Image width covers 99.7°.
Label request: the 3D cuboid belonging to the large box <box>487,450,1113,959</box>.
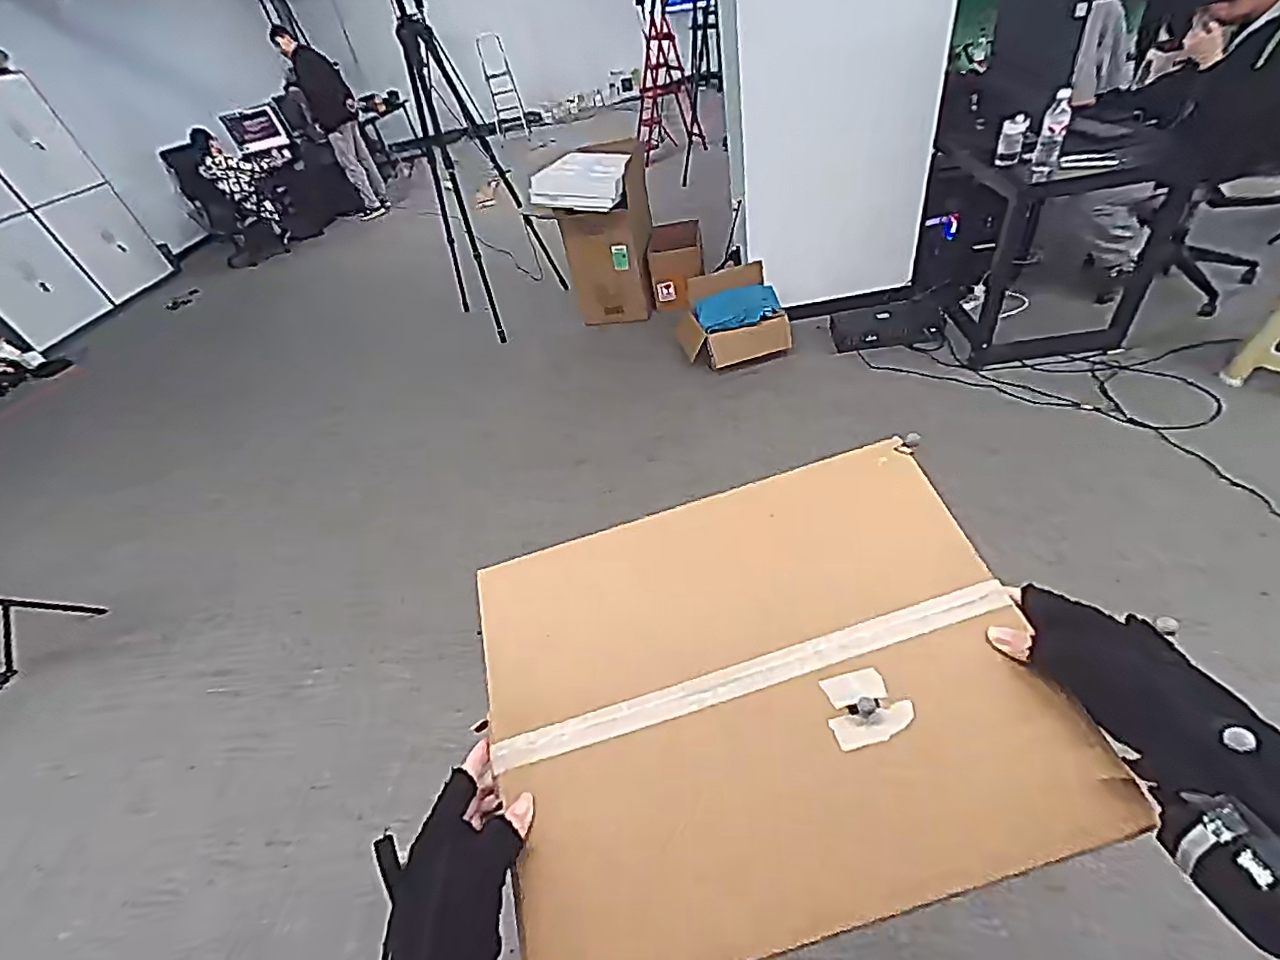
[{"bbox_3d":[0.106,0.232,0.554,0.408,0.320,0.320,-18,58,-1],"label":"large box"}]
